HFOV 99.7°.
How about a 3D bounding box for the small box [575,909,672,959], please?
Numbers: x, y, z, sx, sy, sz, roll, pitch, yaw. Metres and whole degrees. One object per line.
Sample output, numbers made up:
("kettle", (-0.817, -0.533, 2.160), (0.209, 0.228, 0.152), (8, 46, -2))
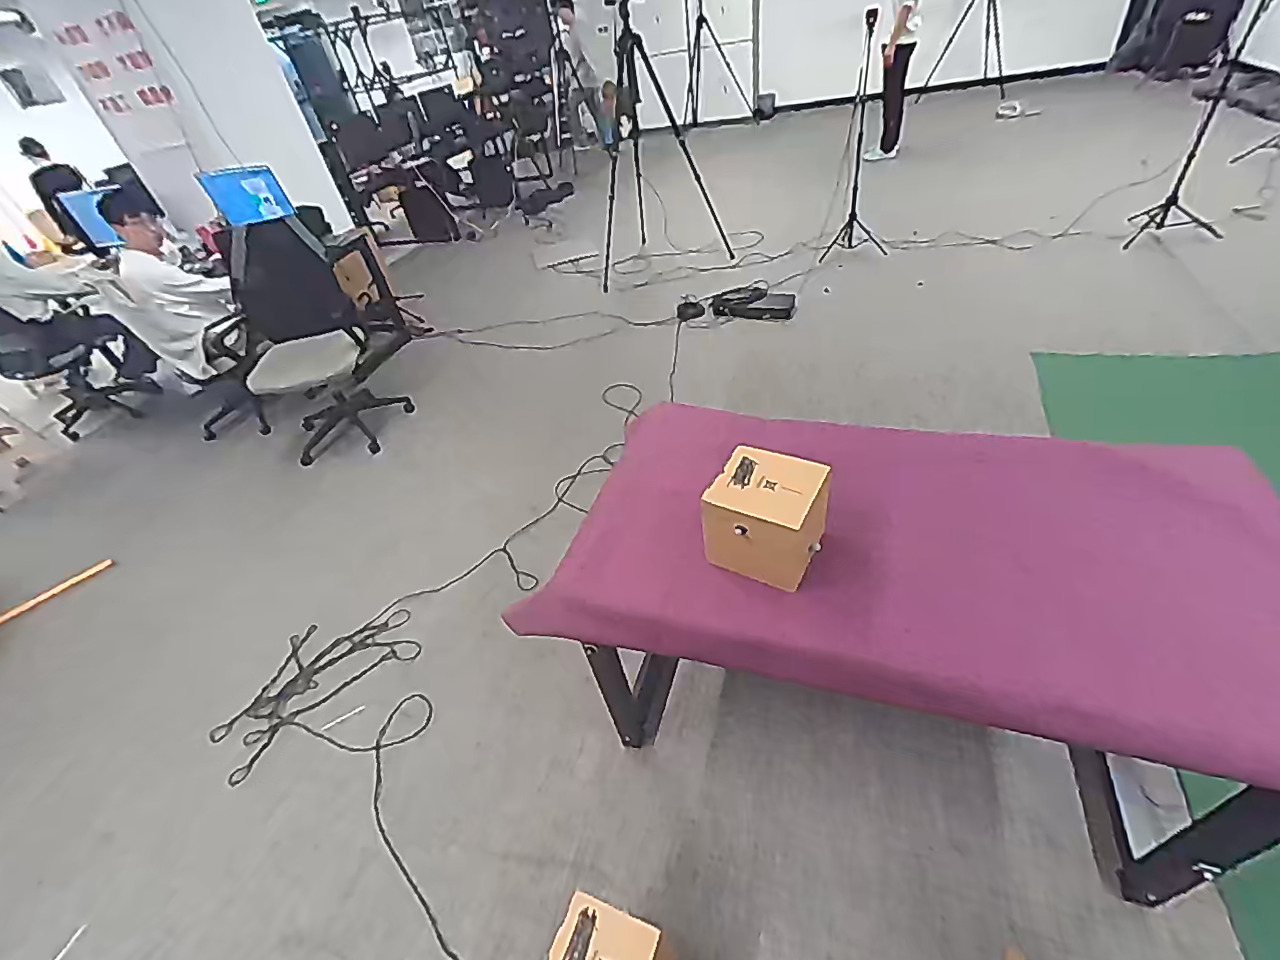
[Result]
("small box", (-0.041, 1.013, 1.081), (0.168, 0.176, 0.179), (9, 46, 22))

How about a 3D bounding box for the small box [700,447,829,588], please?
("small box", (0.227, 0.069, 0.985), (0.179, 0.176, 0.168), (17, 48, 28))
